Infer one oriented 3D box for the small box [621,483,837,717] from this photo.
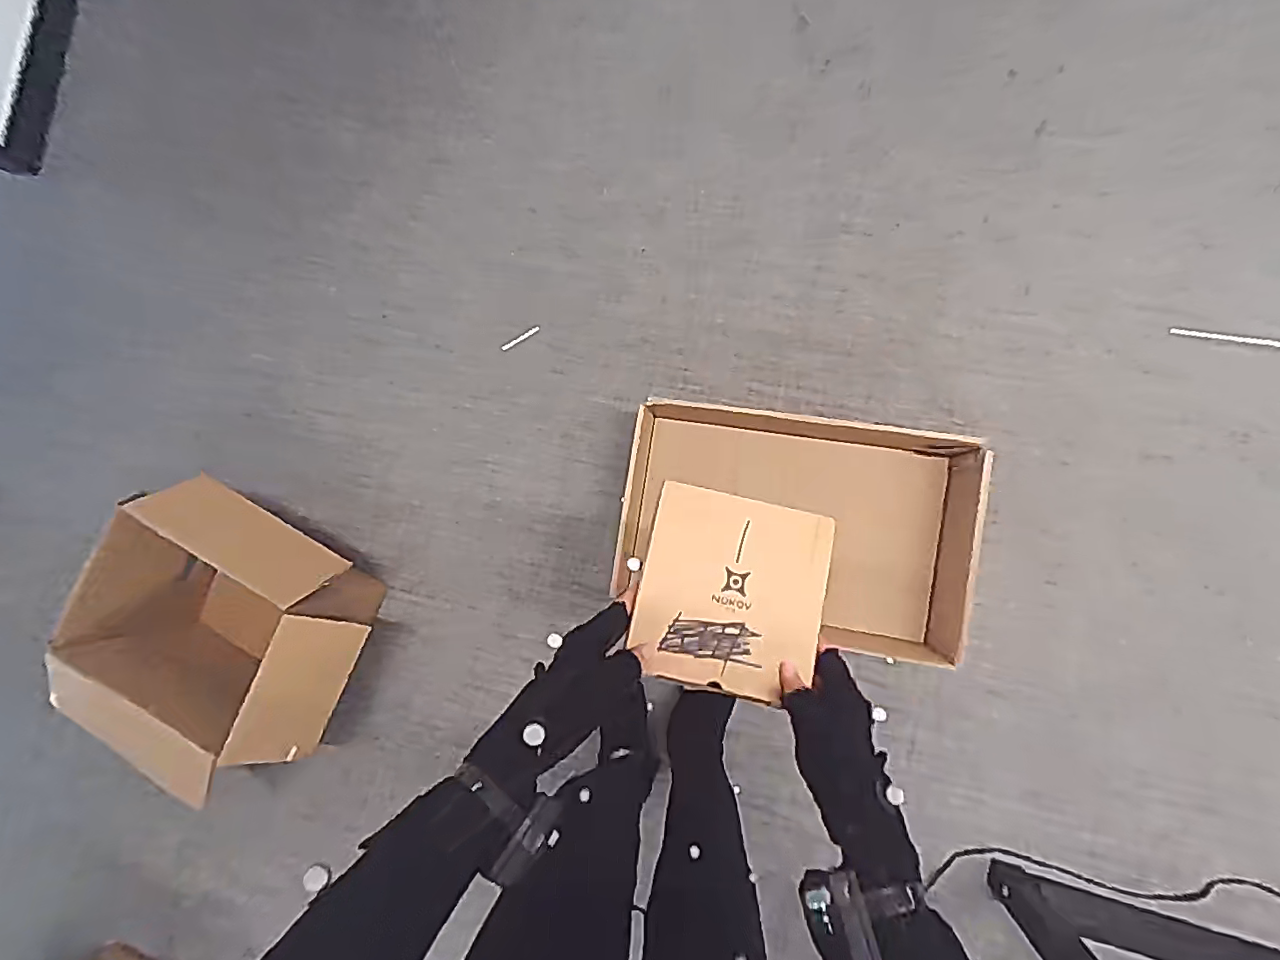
[{"bbox_3d":[0.082,0.122,0.563,0.168,0.176,0.179,14,76,2],"label":"small box"}]
